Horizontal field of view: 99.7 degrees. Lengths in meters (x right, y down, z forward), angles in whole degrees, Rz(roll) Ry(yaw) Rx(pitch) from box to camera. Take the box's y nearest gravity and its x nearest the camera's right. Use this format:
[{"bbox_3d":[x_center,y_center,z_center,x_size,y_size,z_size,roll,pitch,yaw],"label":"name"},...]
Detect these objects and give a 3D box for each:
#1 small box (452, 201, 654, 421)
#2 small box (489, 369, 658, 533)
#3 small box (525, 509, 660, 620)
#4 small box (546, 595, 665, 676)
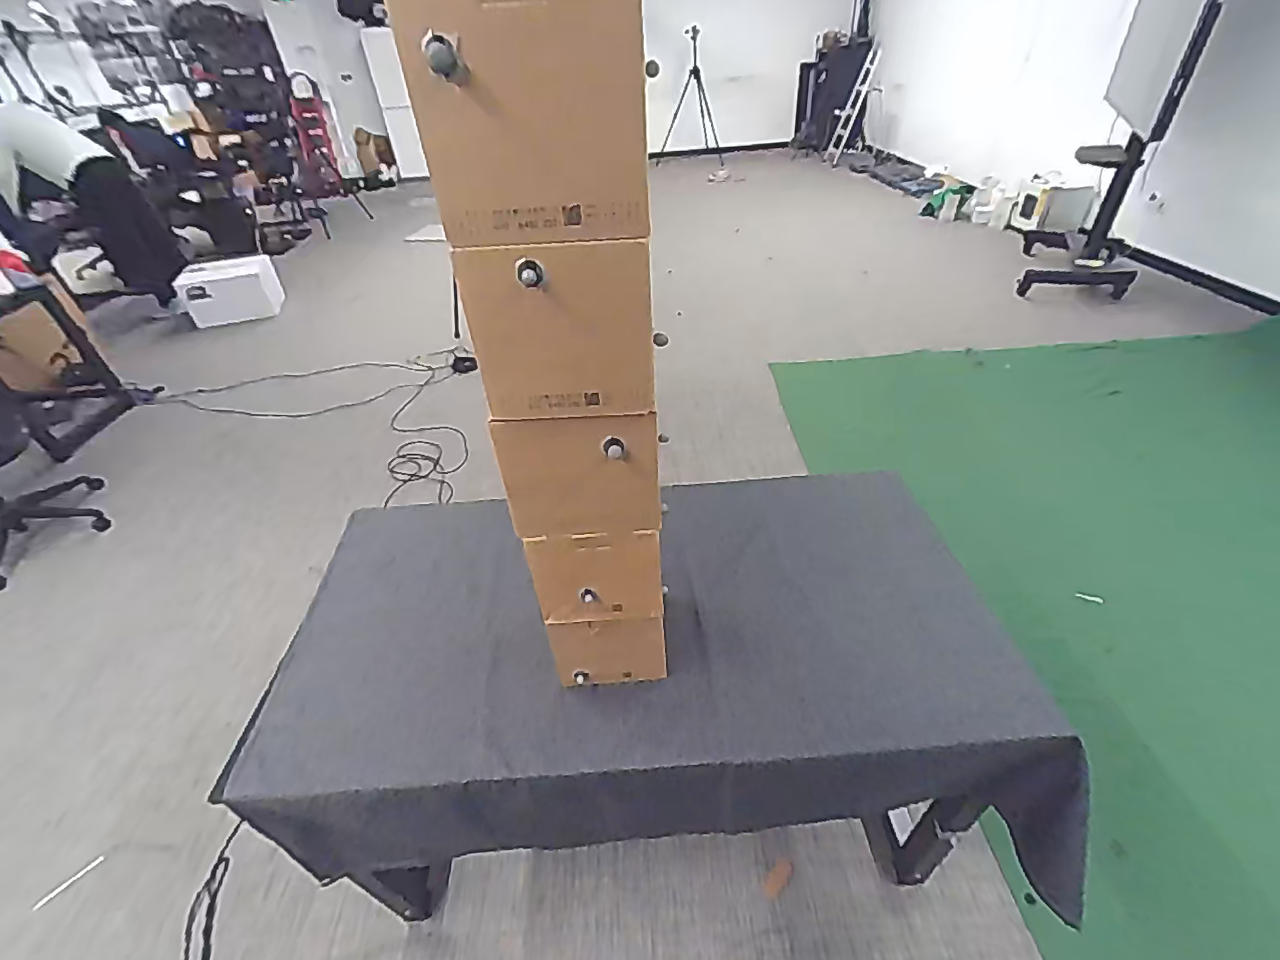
[{"bbox_3d":[-0.072,-0.177,0.562,0.168,0.176,0.179,-3,39,2],"label":"small box"},{"bbox_3d":[-0.067,-0.051,0.664,0.179,0.176,0.168,-3,39,1],"label":"small box"},{"bbox_3d":[-0.059,0.075,0.770,0.168,0.176,0.179,-4,39,0],"label":"small box"},{"bbox_3d":[-0.049,0.200,0.873,0.168,0.176,0.179,-5,38,0],"label":"small box"}]
